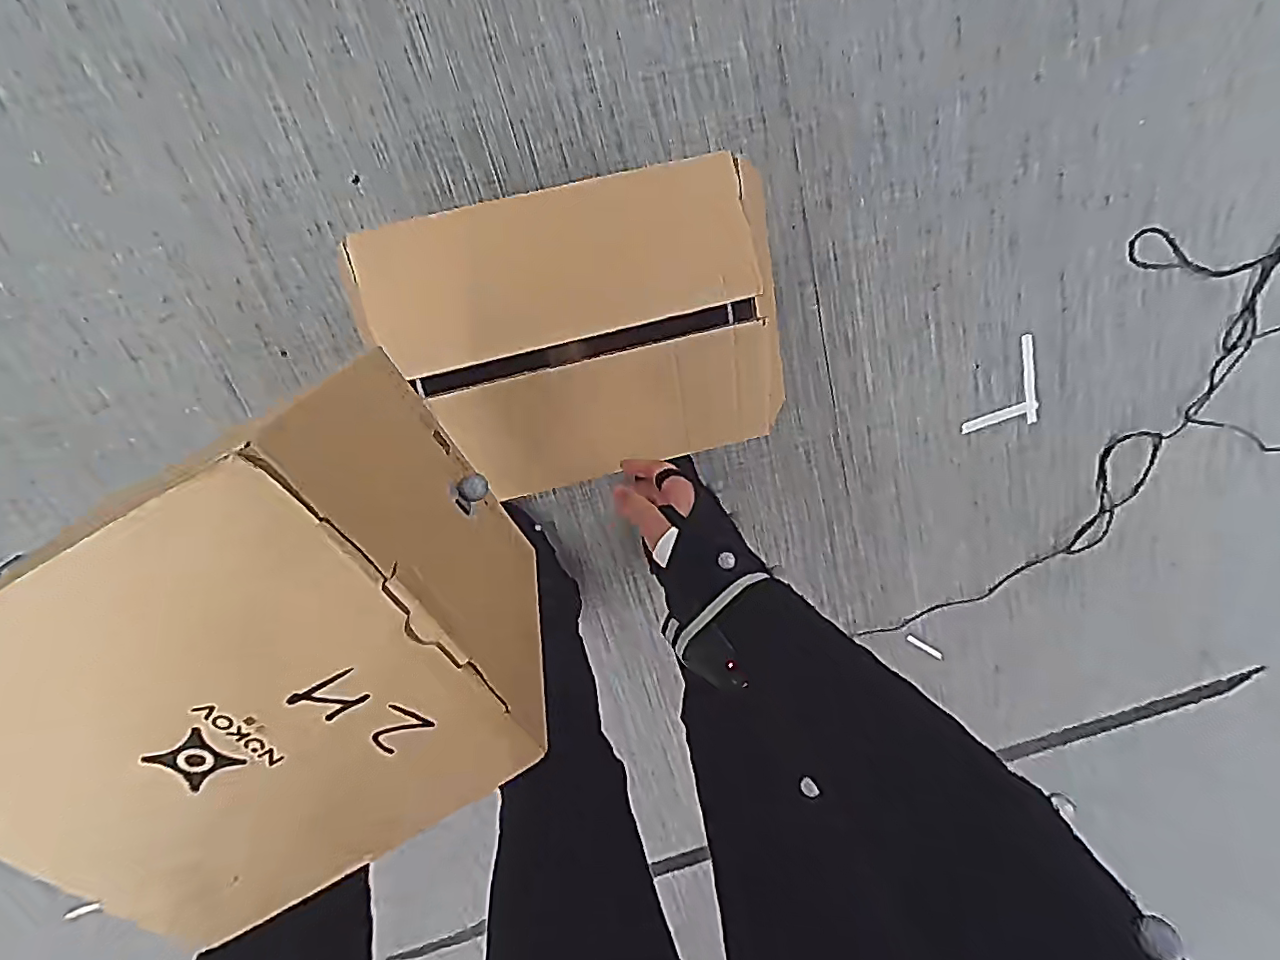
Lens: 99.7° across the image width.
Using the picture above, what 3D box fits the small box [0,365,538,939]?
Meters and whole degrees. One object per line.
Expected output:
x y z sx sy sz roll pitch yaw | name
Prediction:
-0.168 0.065 0.273 0.179 0.176 0.168 -30 117 0 | small box
